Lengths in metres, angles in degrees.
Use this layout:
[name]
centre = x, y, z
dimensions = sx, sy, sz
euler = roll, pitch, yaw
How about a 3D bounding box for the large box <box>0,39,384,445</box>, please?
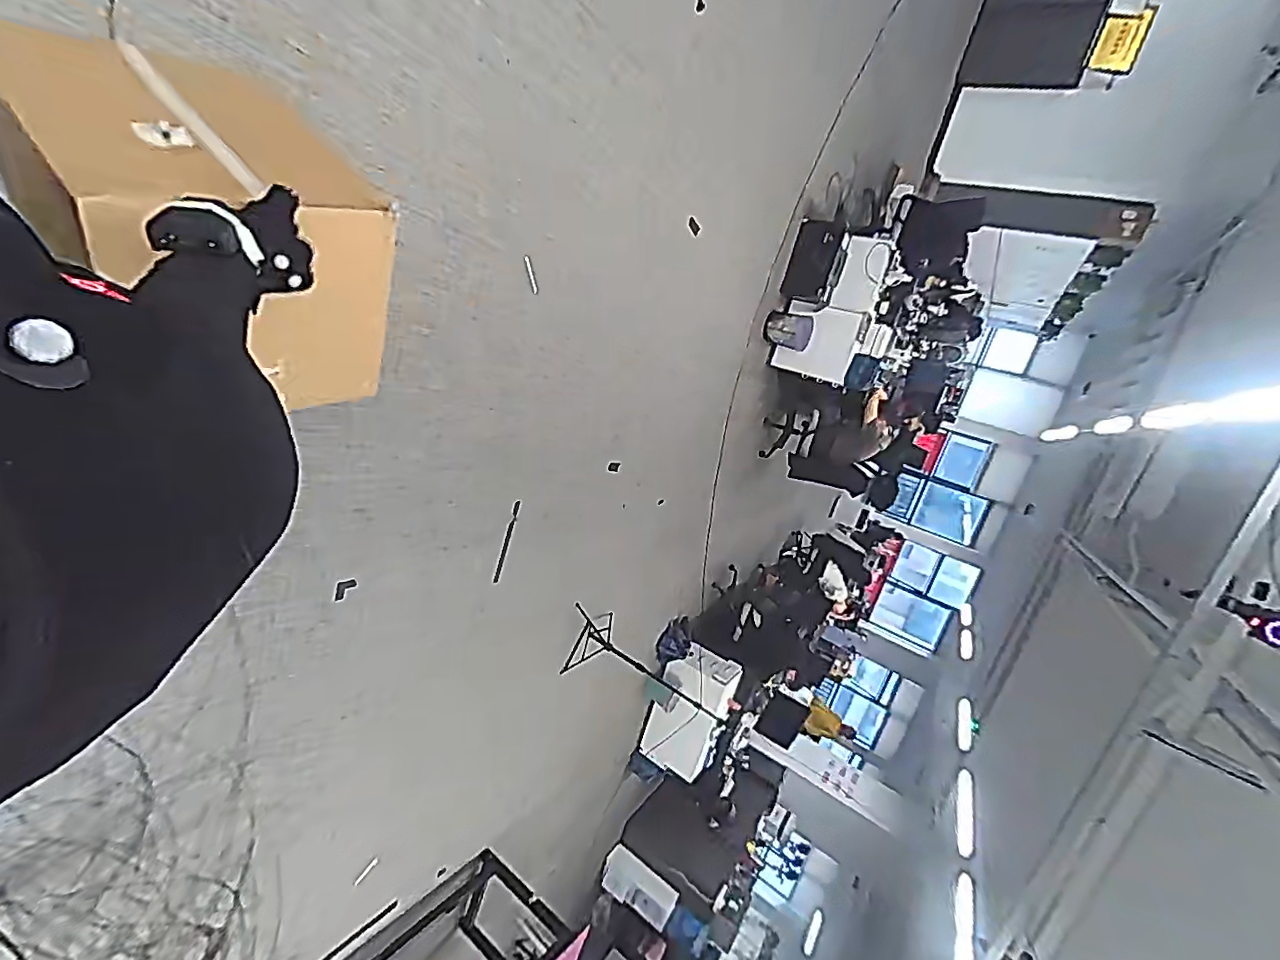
[large box]
centre = -0.628, -0.317, 0.751
dimensions = 0.320, 0.408, 0.320
euler = -28, 156, -47
